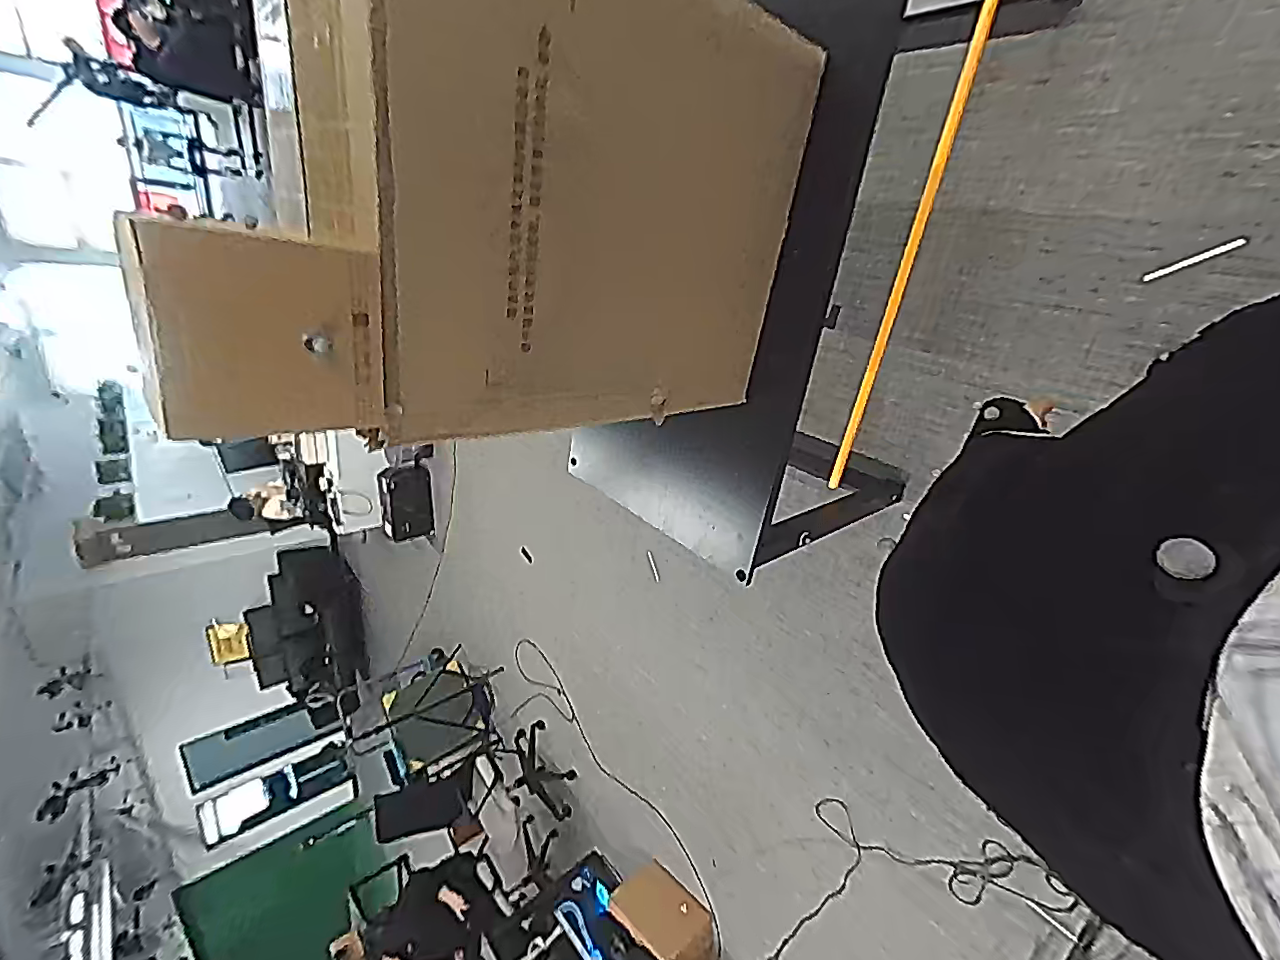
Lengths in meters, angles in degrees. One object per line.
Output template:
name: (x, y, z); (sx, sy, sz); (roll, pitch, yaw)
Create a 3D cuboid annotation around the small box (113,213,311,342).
small box: (-0.484, -0.201, 0.636); (0.168, 0.176, 0.179); (32, 121, 42)

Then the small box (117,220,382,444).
small box: (-0.363, -0.141, 0.514); (0.179, 0.176, 0.168); (24, 116, 40)
